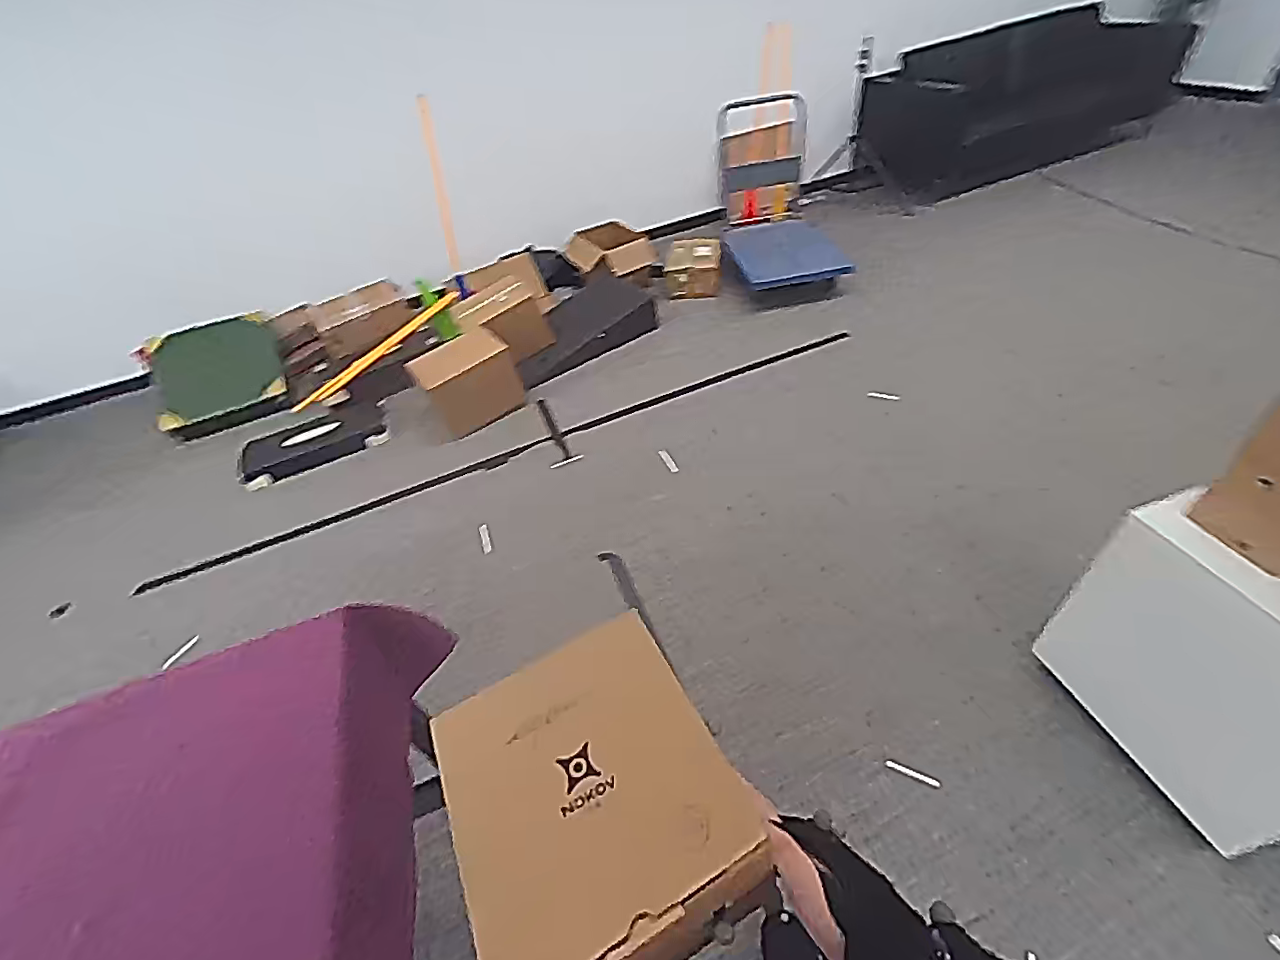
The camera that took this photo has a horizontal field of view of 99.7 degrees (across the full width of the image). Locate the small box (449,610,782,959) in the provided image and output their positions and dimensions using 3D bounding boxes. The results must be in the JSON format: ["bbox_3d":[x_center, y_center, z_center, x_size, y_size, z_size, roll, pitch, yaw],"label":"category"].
[{"bbox_3d":[-0.013,0.236,0.393,0.168,0.176,0.179,-25,44,-12],"label":"small box"}]

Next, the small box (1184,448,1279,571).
[{"bbox_3d":[1.161,0.034,0.971,0.179,0.176,0.168,-16,43,-7],"label":"small box"}]
